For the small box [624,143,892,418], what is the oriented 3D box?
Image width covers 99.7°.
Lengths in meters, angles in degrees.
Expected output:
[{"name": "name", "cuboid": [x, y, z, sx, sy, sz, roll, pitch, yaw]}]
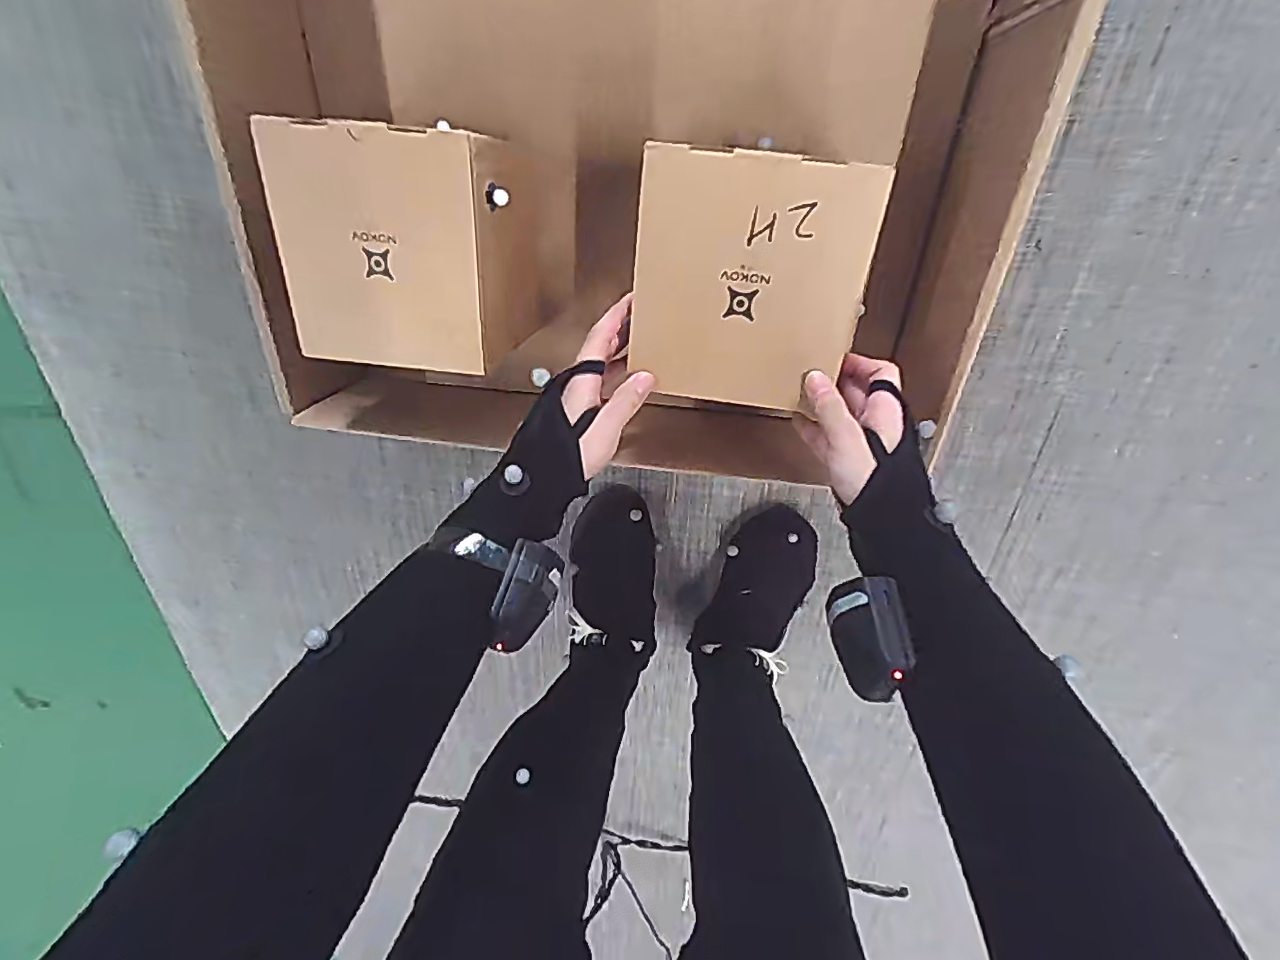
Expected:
[{"name": "small box", "cuboid": [0.087, -0.174, 0.464, 0.168, 0.176, 0.179, 9, 119, 4]}]
